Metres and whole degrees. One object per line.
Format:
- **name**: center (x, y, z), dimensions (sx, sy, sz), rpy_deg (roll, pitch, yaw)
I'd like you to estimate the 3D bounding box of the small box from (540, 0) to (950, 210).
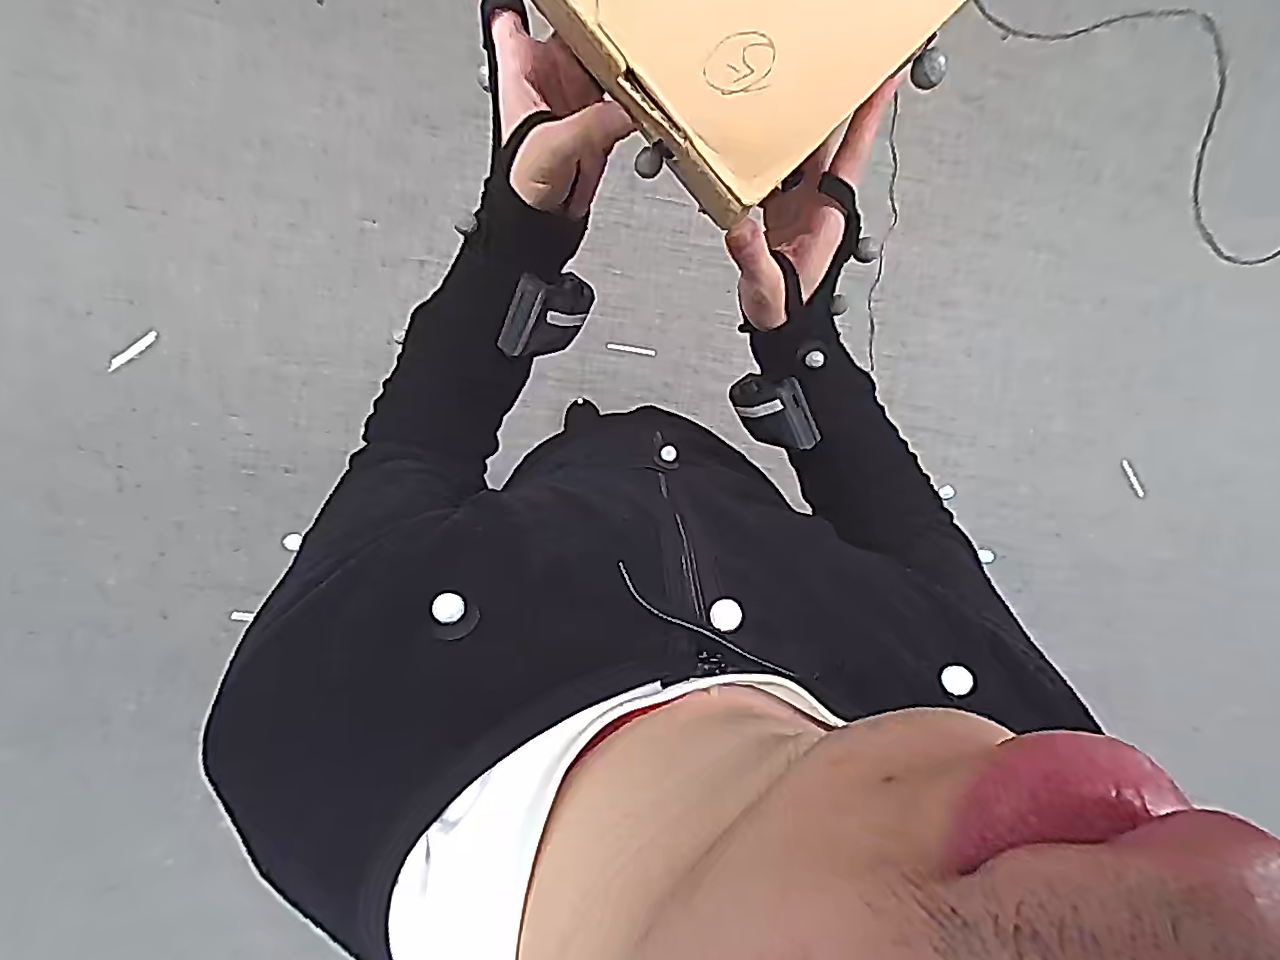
- **small box**: center (0.047, -0.238, 0.221), dimensions (0.179, 0.176, 0.168), rpy_deg (-40, 104, 20)
